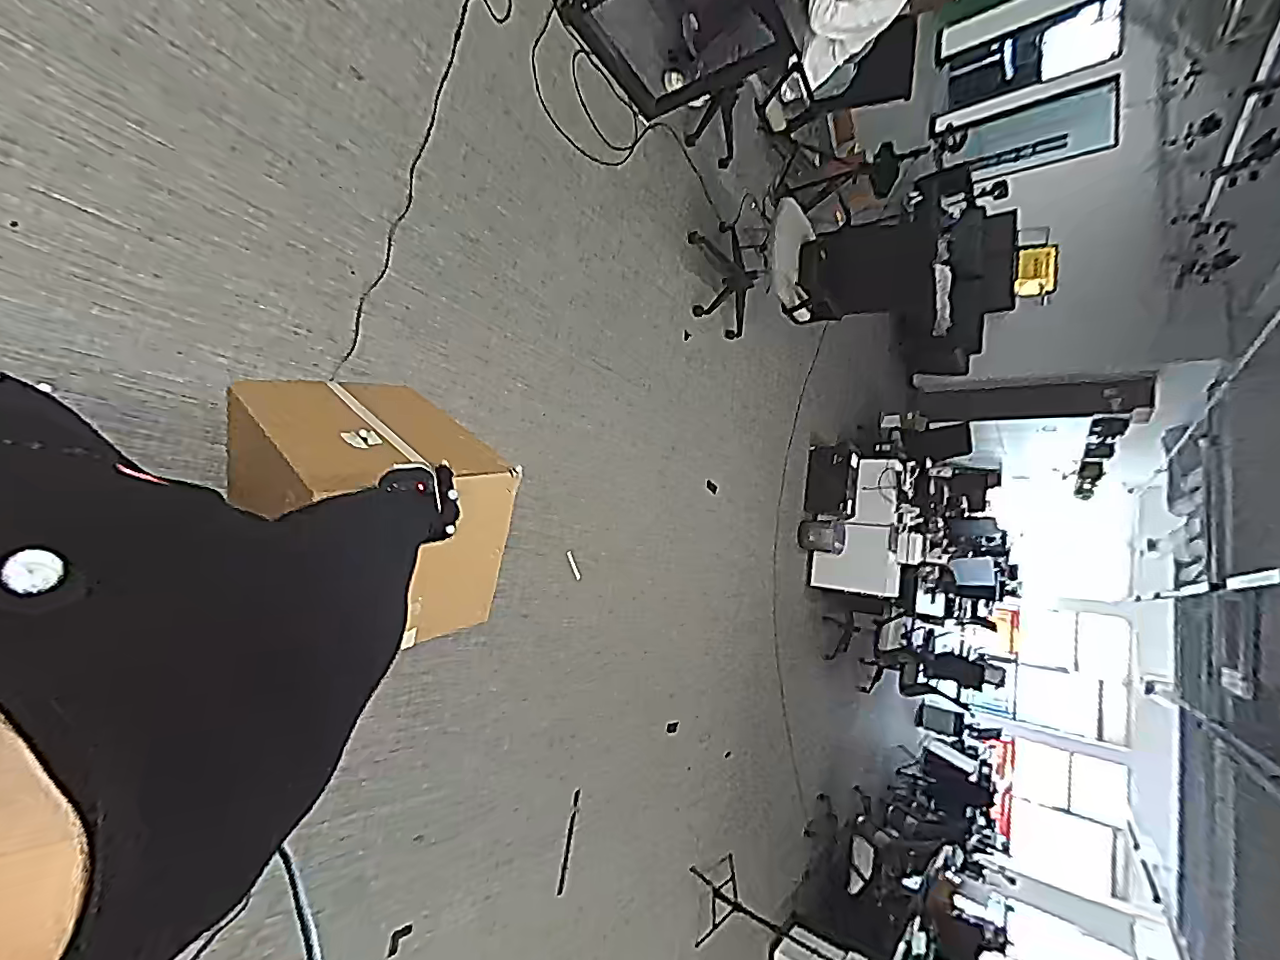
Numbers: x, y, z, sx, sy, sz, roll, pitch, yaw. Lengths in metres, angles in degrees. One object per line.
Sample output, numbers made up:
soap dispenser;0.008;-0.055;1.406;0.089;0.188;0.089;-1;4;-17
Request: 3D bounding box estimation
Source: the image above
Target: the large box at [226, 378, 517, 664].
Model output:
large box;-0.488;0.040;0.958;0.320;0.408;0.320;-10;125;-49
